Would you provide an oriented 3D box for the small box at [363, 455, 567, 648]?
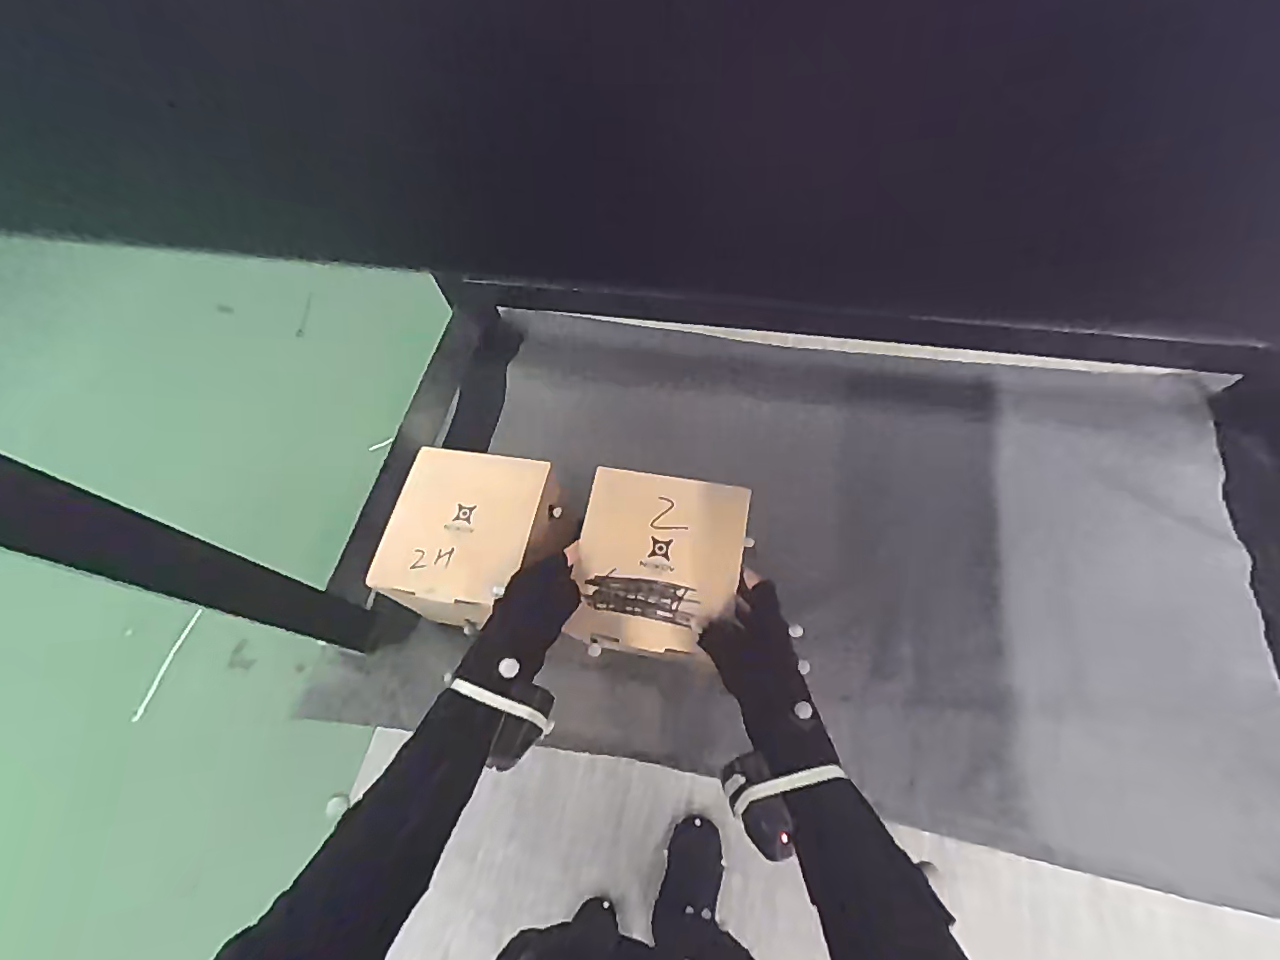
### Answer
[{"bbox_3d":[-0.196,0.093,0.669,0.168,0.176,0.179,7,63,9],"label":"small box"}]
